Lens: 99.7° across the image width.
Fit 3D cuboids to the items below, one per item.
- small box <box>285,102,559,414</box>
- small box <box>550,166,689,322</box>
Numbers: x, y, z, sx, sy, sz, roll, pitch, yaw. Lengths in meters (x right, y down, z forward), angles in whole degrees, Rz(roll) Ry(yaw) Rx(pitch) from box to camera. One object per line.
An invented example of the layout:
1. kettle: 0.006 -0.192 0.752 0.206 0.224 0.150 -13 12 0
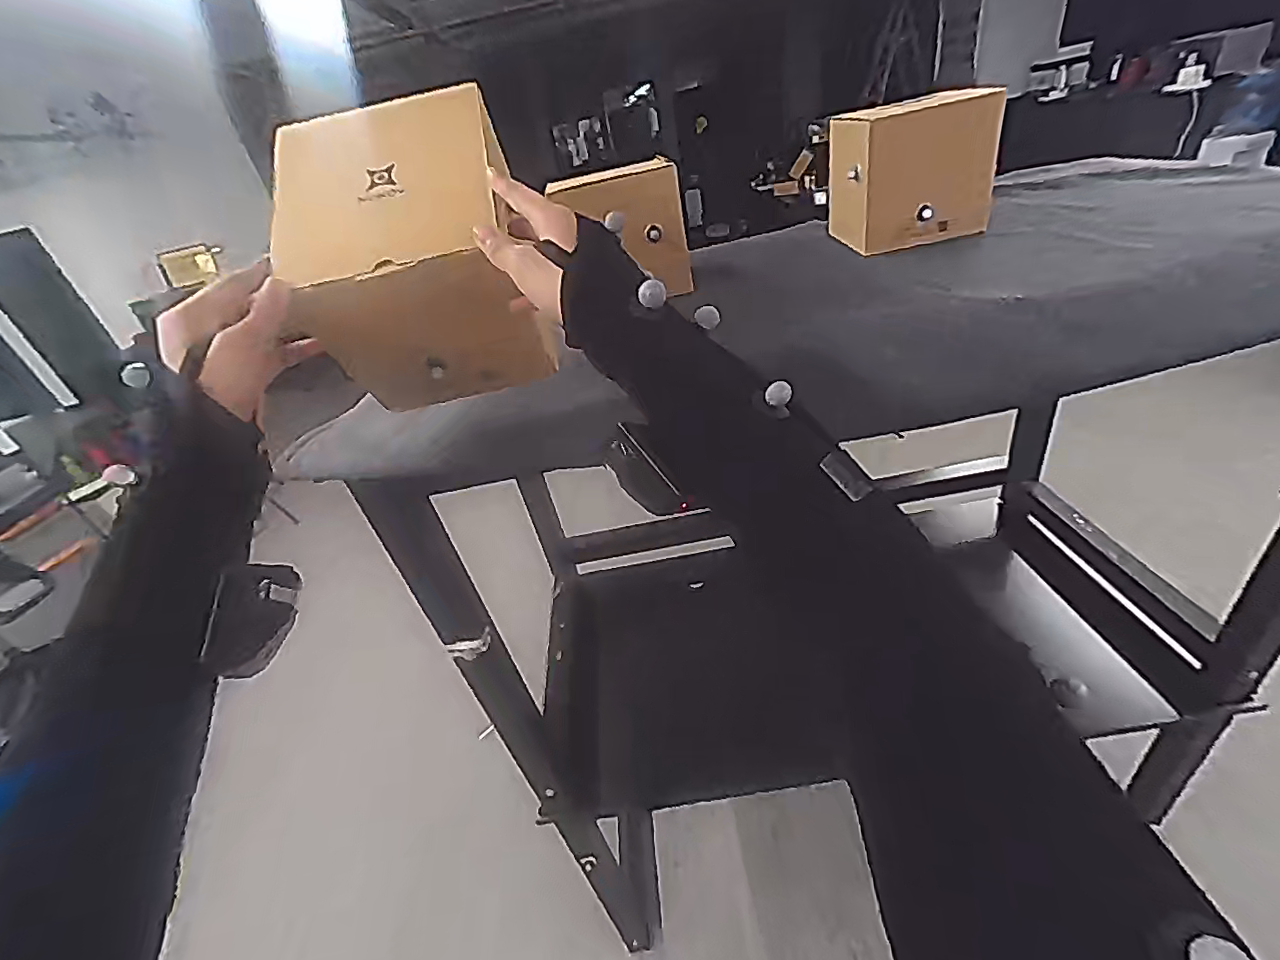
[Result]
1. small box: -0.178 -0.186 0.483 0.168 0.176 0.179 -13 68 0
2. small box: -0.028 -0.353 0.806 0.179 0.176 0.168 -12 33 0
